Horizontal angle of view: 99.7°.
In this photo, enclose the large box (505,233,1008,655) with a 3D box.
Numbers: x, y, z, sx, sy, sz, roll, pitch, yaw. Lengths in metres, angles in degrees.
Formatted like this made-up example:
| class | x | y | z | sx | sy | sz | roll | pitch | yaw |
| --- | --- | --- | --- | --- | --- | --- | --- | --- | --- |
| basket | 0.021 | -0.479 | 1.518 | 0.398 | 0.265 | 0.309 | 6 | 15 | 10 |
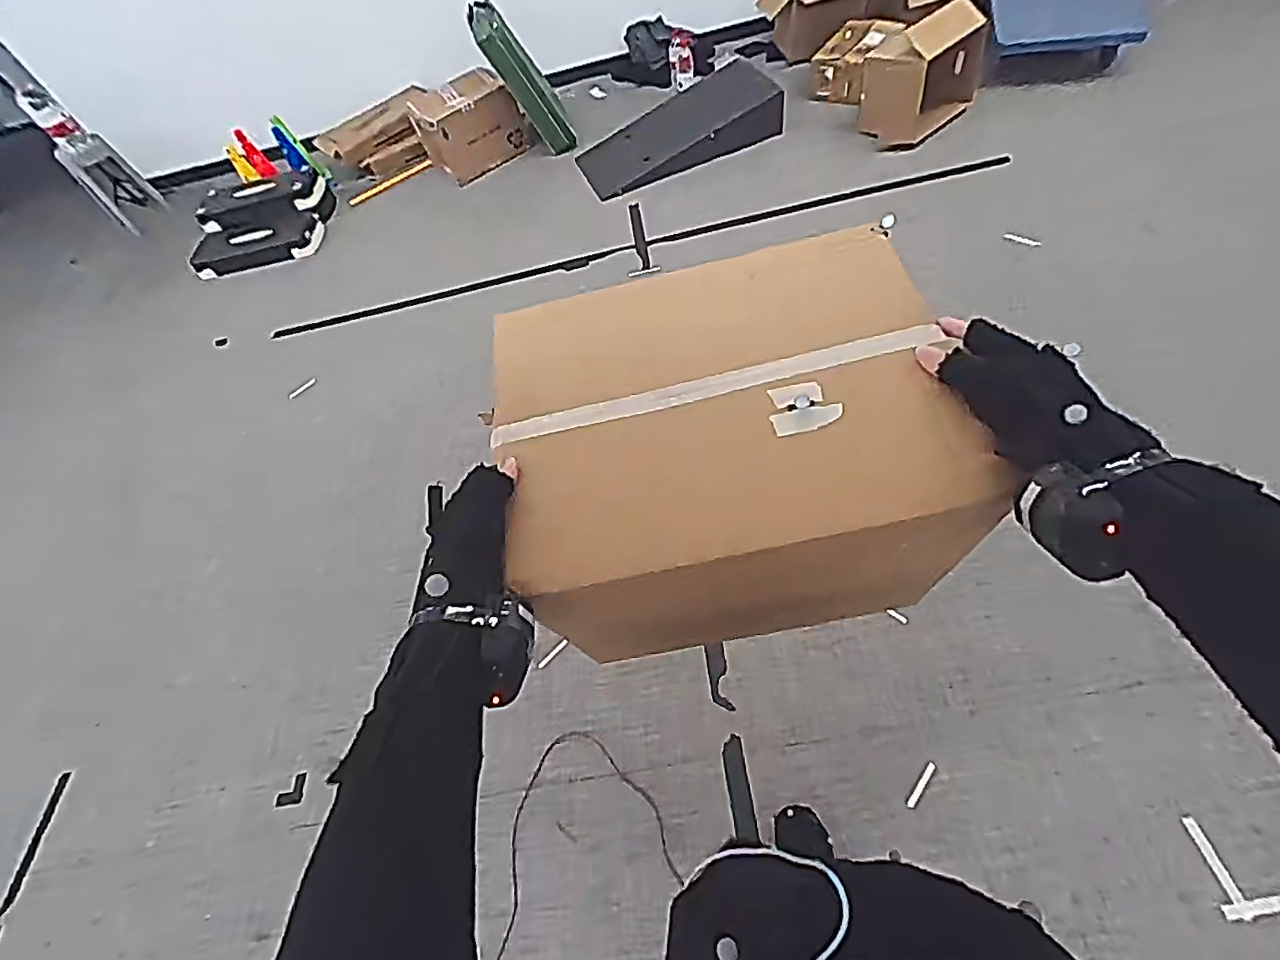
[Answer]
| class | x | y | z | sx | sy | sz | roll | pitch | yaw |
| --- | --- | --- | --- | --- | --- | --- | --- | --- | --- |
| large box | 0.093 | -0.014 | 0.631 | 0.408 | 0.320 | 0.320 | -13 | 62 | 4 |
